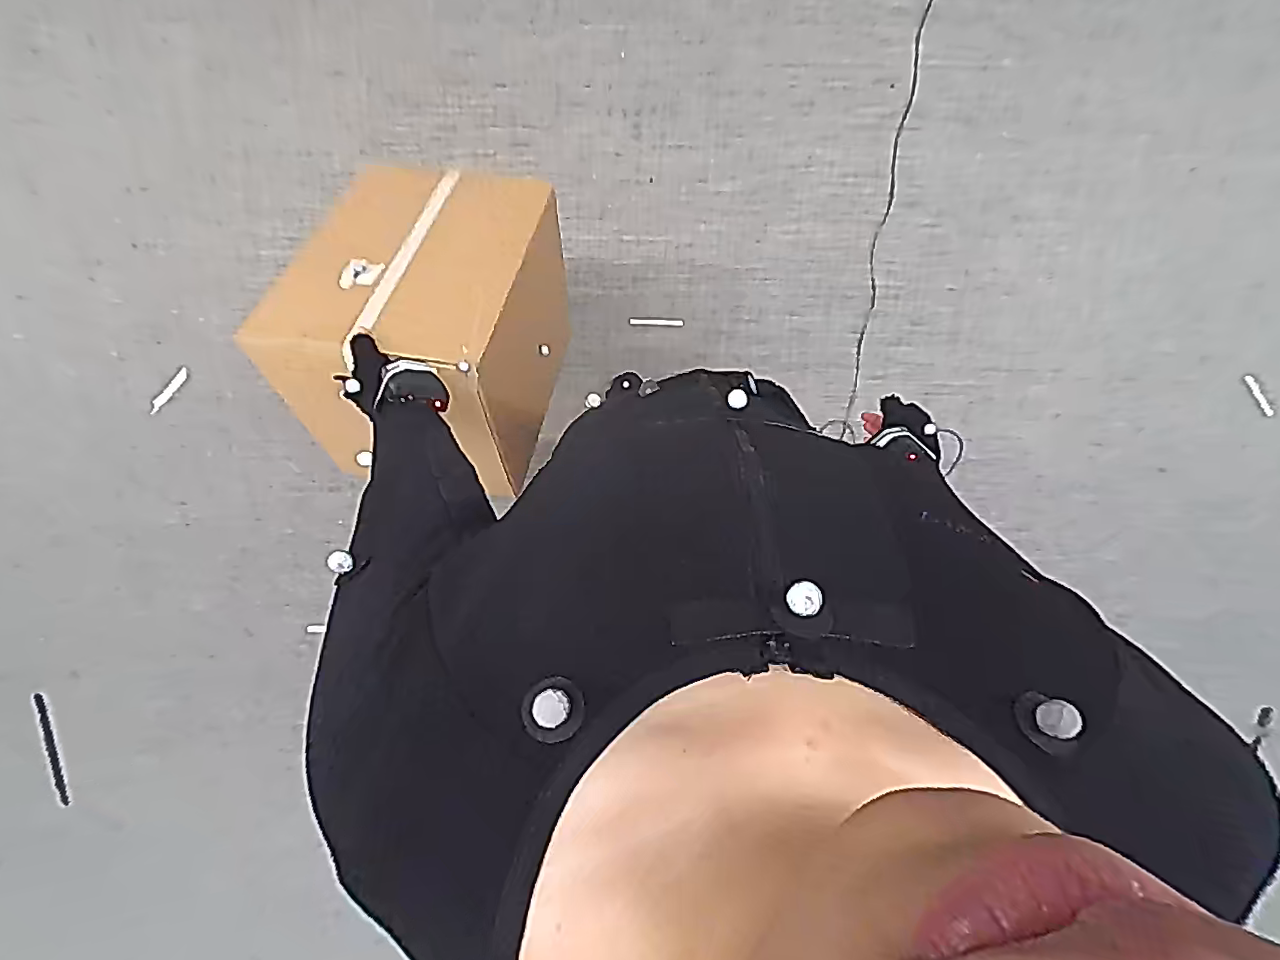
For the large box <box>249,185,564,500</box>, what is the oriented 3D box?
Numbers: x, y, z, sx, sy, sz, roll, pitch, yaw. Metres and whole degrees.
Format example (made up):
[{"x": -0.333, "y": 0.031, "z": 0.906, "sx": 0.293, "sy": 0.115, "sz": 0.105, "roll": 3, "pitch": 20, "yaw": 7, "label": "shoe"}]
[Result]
[{"x": -0.329, "y": -0.228, "z": 0.913, "sx": 0.320, "sy": 0.320, "sz": 0.408, "roll": 8, "pitch": 58, "yaw": 5, "label": "large box"}]
